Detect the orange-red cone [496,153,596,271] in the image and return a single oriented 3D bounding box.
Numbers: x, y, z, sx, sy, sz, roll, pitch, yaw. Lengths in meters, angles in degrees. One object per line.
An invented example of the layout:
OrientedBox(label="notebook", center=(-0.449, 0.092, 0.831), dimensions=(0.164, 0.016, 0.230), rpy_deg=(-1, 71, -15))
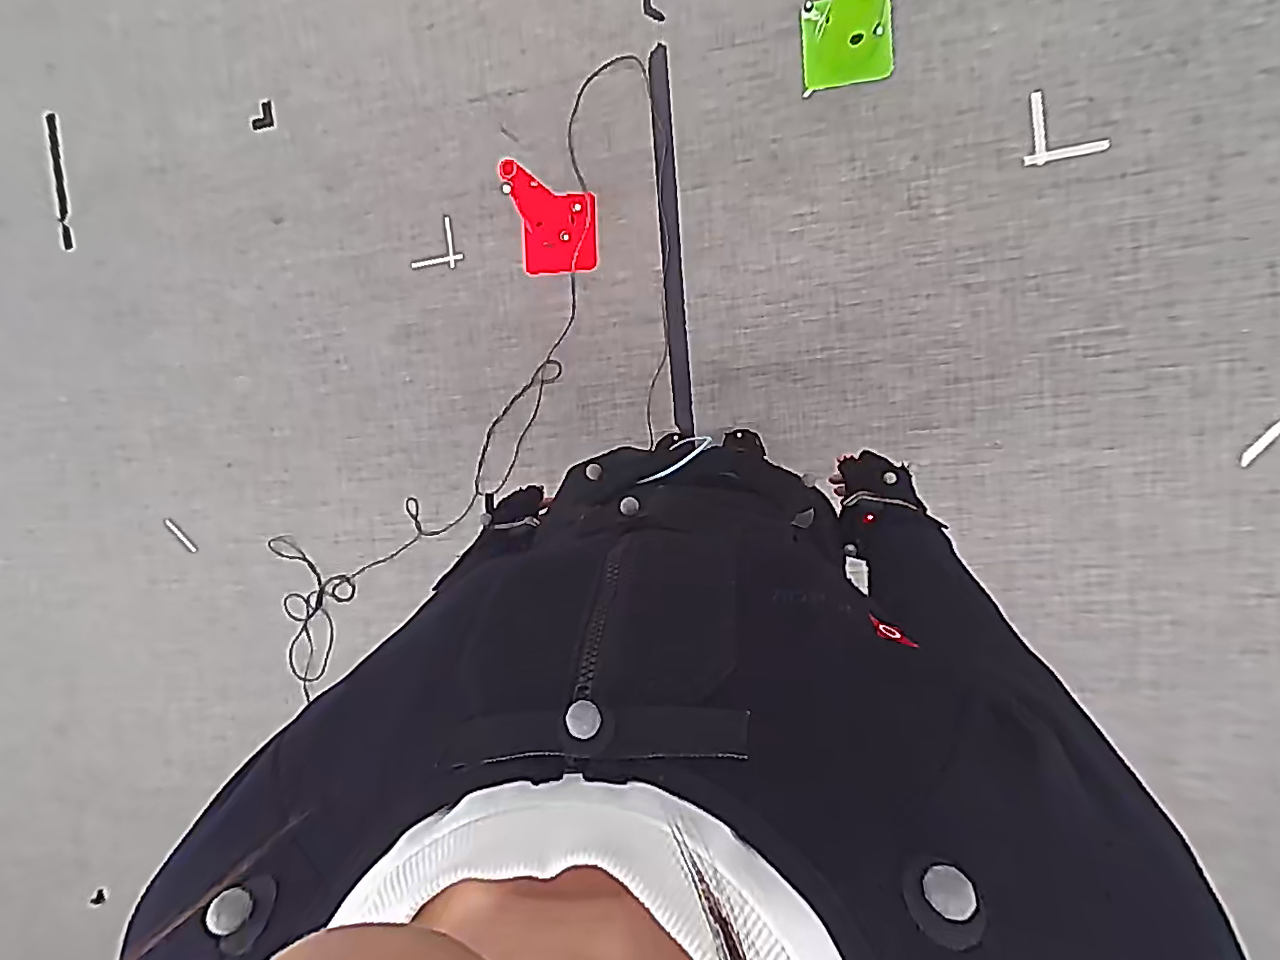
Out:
OrientedBox(label="orange-red cone", center=(-0.242, -0.639, 1.246), dimensions=(0.199, 0.360, 0.198), rpy_deg=(0, 93, 10))

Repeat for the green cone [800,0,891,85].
OrientedBox(label="green cone", center=(0.459, -1.027, 1.099), dimensions=(0.202, 0.368, 0.200), rpy_deg=(-4, 94, 8))
